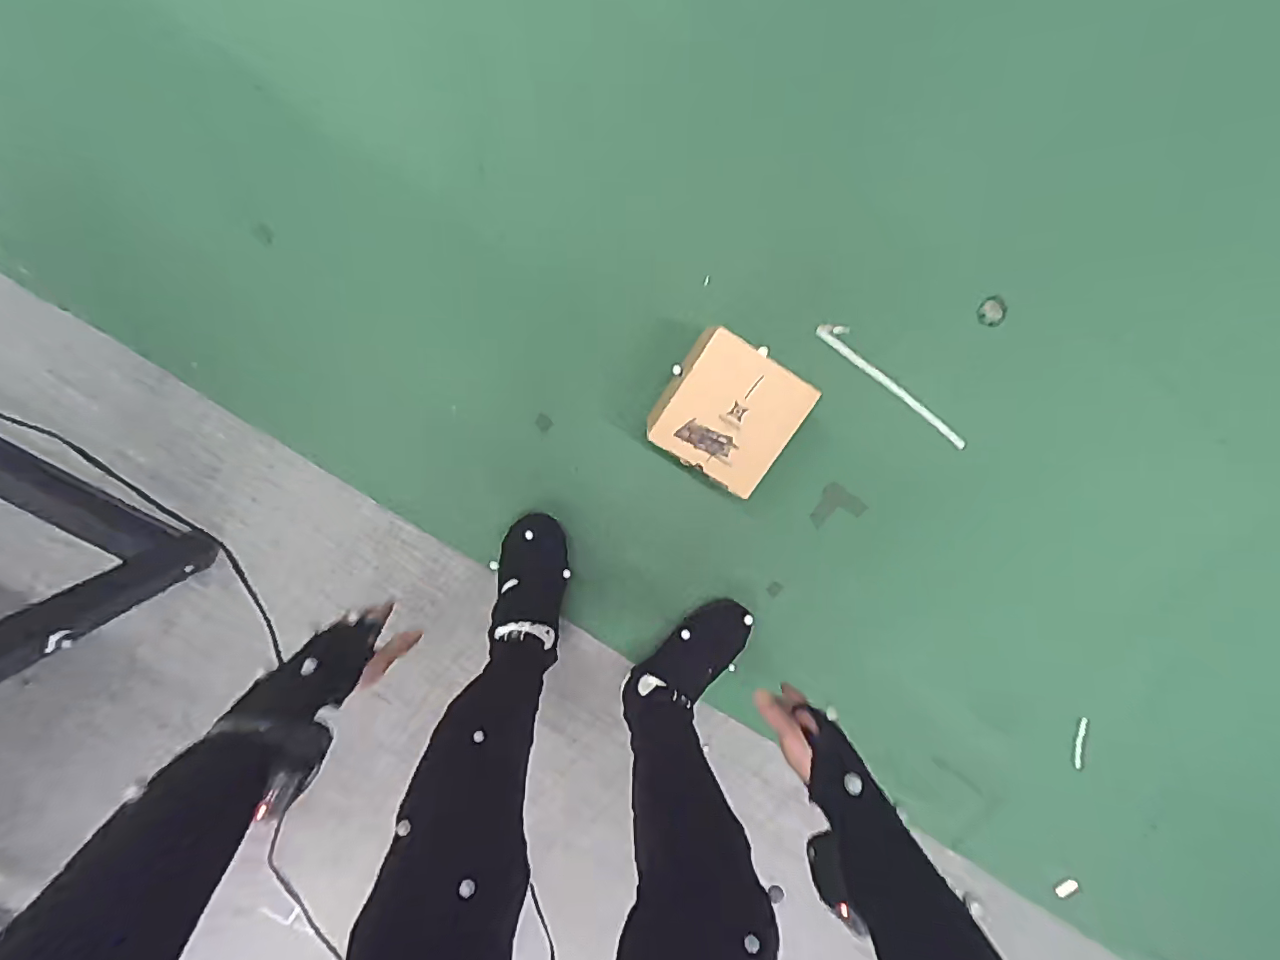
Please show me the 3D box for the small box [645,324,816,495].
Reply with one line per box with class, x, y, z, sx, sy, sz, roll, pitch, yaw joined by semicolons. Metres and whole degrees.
small box;0.123;-0.110;0.800;0.168;0.176;0.179;32;103;-8
